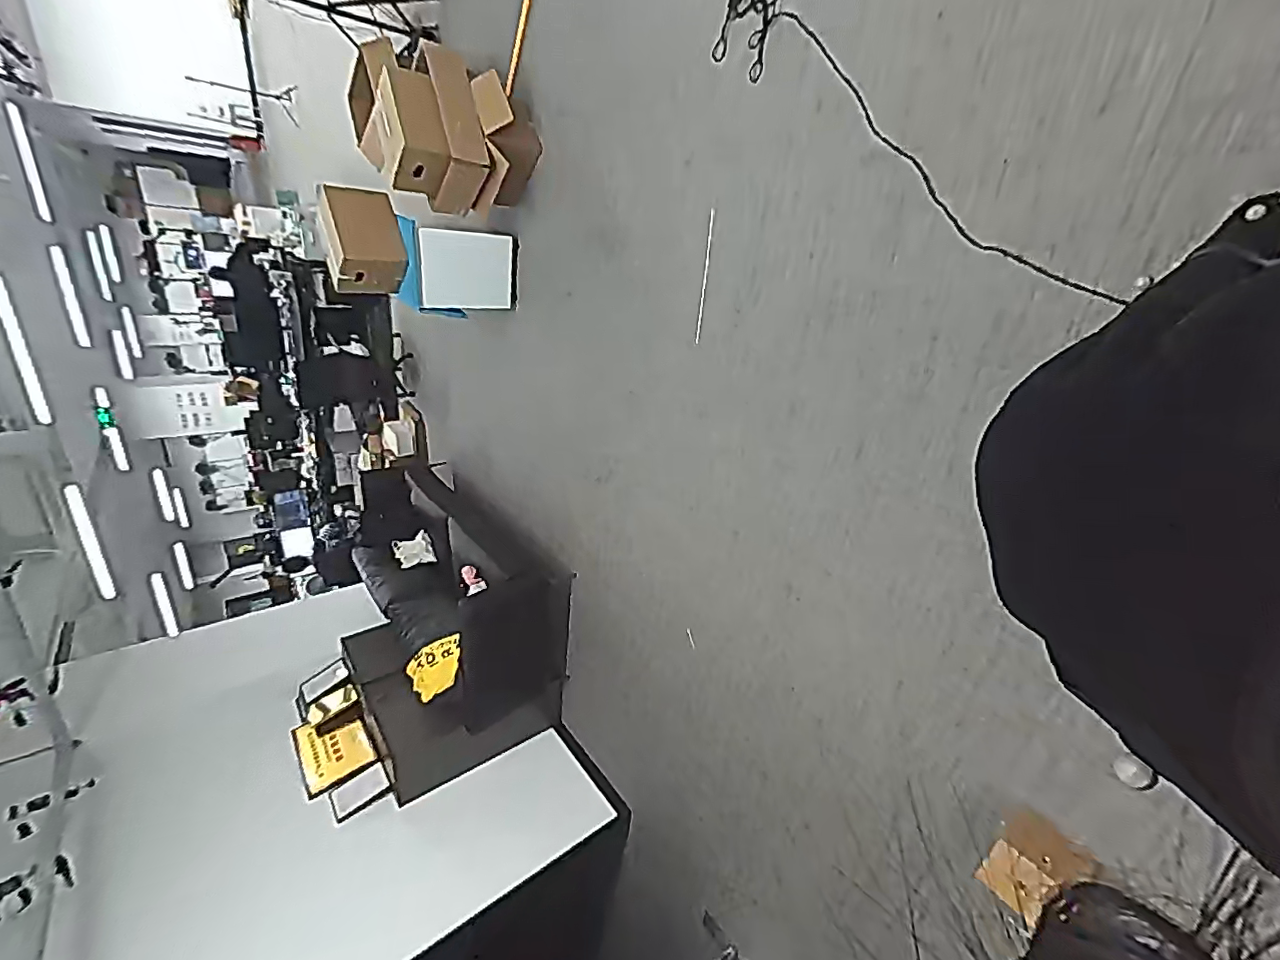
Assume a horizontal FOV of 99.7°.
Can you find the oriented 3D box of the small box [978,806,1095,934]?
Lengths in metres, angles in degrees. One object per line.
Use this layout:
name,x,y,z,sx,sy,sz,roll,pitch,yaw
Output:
small box,1.032,1.004,1.406,0.179,0.176,0.168,36,126,42
